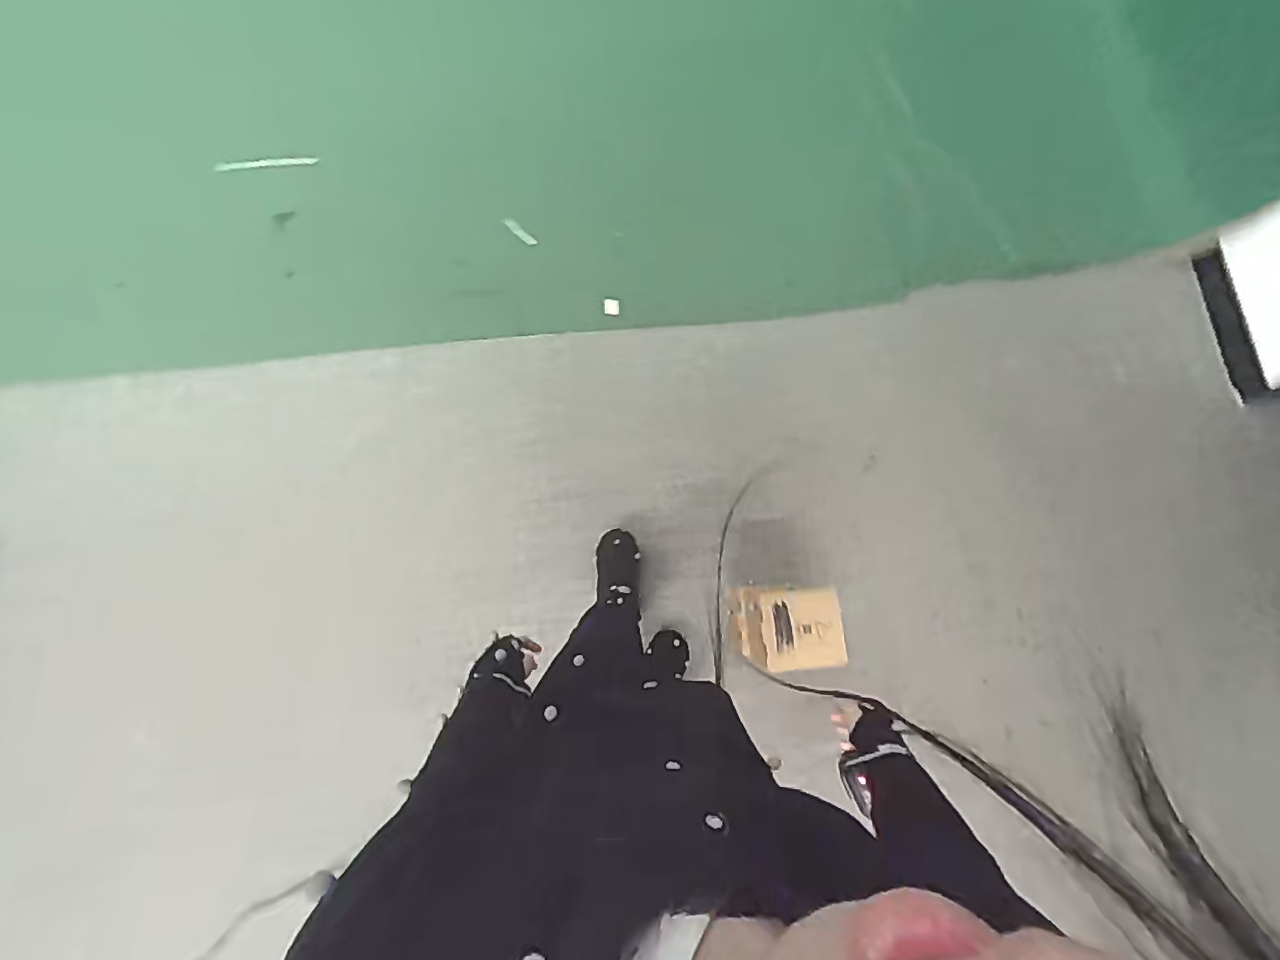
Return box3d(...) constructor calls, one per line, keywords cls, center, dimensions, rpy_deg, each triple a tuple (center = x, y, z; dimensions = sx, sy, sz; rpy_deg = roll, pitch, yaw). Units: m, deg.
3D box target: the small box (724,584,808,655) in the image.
box3d(cls="small box", center=(0.322, 0.357, 1.405), dimensions=(0.179, 0.176, 0.168), rpy_deg=(0, 80, -2))
